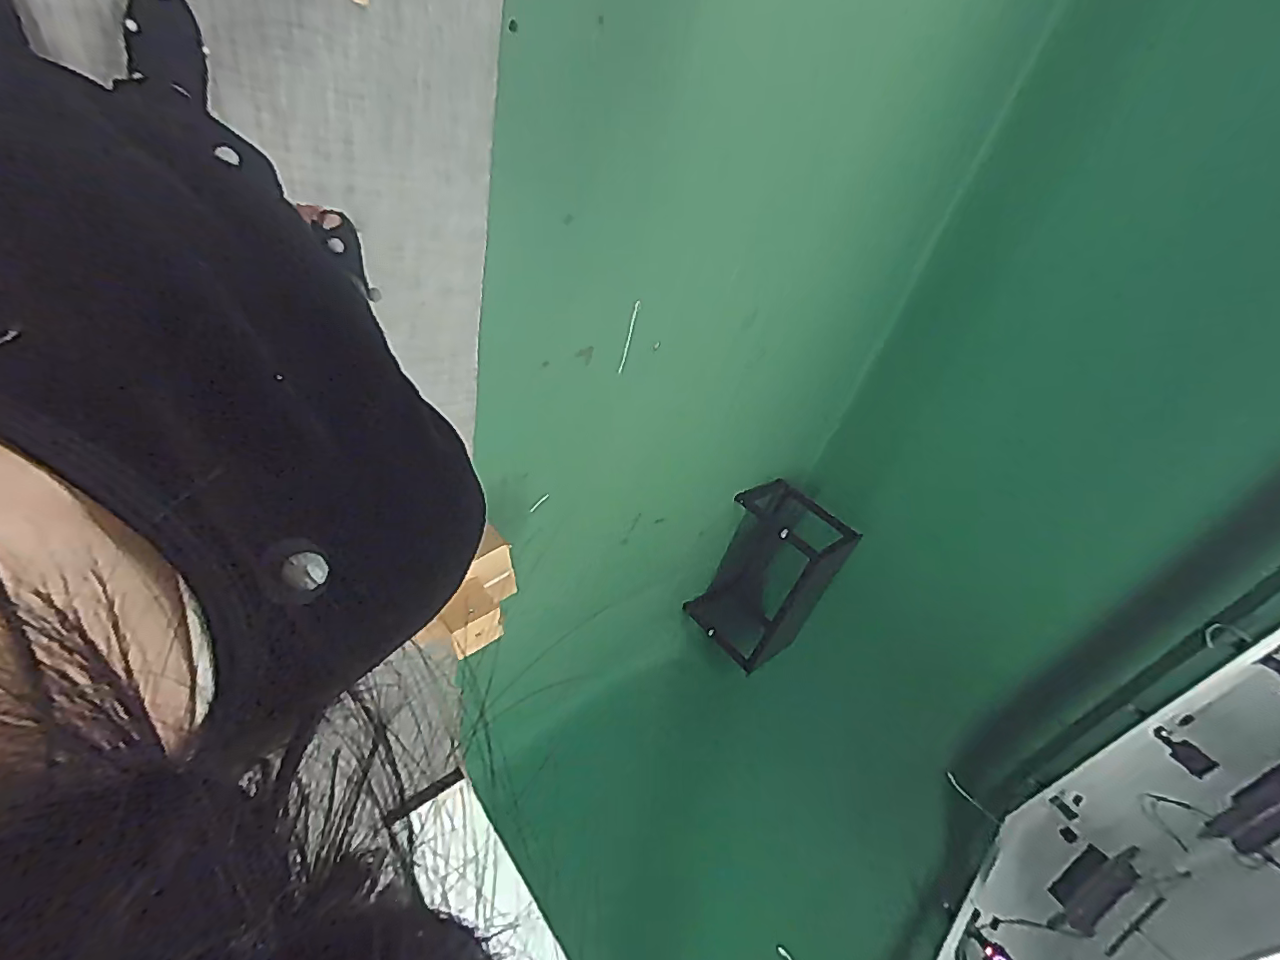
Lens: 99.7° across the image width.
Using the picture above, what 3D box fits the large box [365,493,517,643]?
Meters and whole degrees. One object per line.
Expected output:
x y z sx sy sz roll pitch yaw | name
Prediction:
-0.730 0.319 2.022 0.408 0.320 0.320 -30 145 -29 | large box

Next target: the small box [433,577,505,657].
-0.594 0.470 1.880 0.179 0.176 0.168 -26 140 -31 | small box
